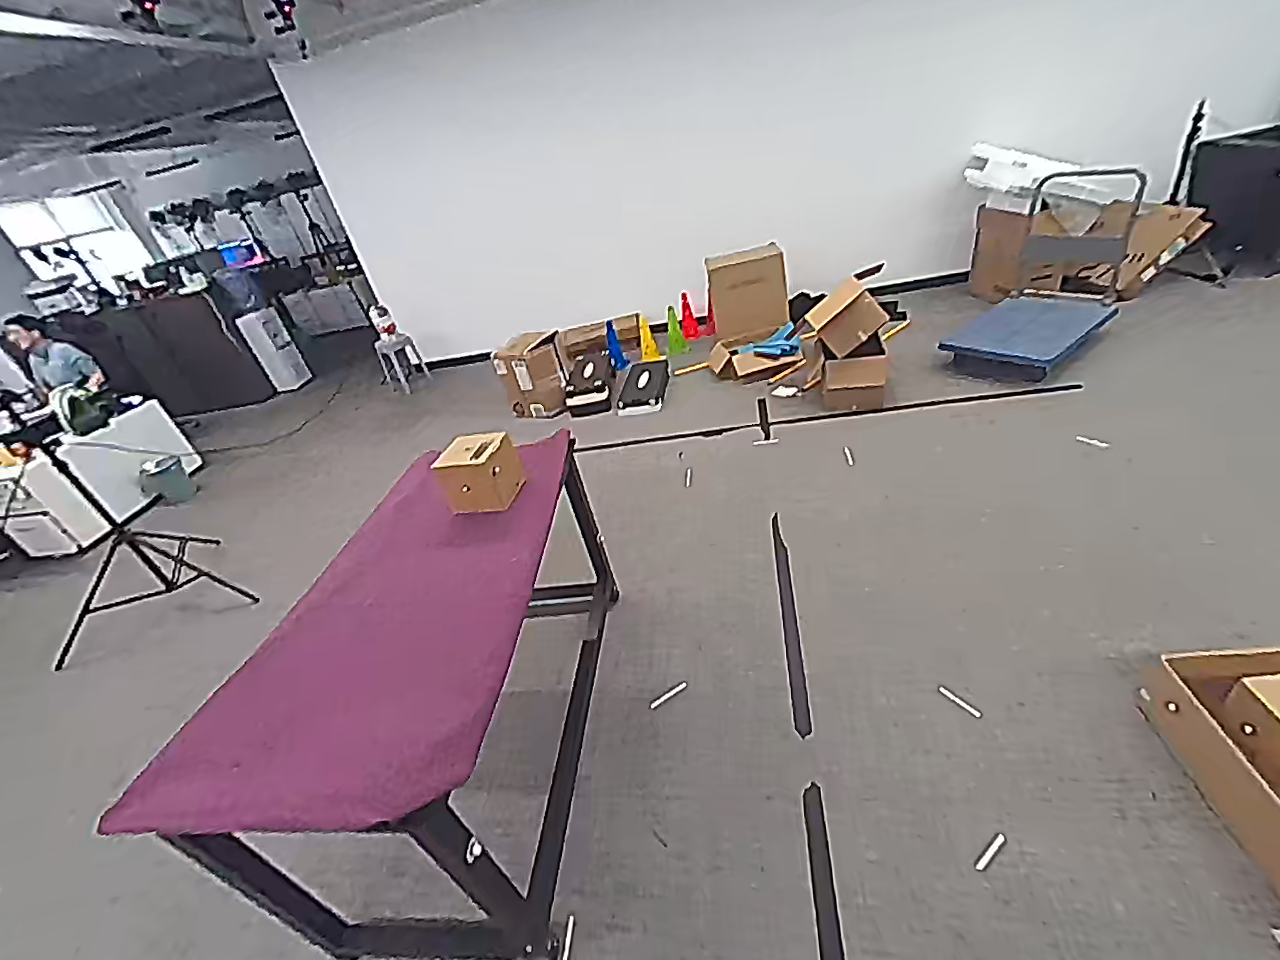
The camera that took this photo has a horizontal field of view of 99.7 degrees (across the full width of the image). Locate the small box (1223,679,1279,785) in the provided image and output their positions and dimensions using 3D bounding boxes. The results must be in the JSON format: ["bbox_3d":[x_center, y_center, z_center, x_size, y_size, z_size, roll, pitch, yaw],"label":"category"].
[{"bbox_3d":[1.497,0.573,1.228,0.179,0.176,0.168,-8,34,9],"label":"small box"}]
